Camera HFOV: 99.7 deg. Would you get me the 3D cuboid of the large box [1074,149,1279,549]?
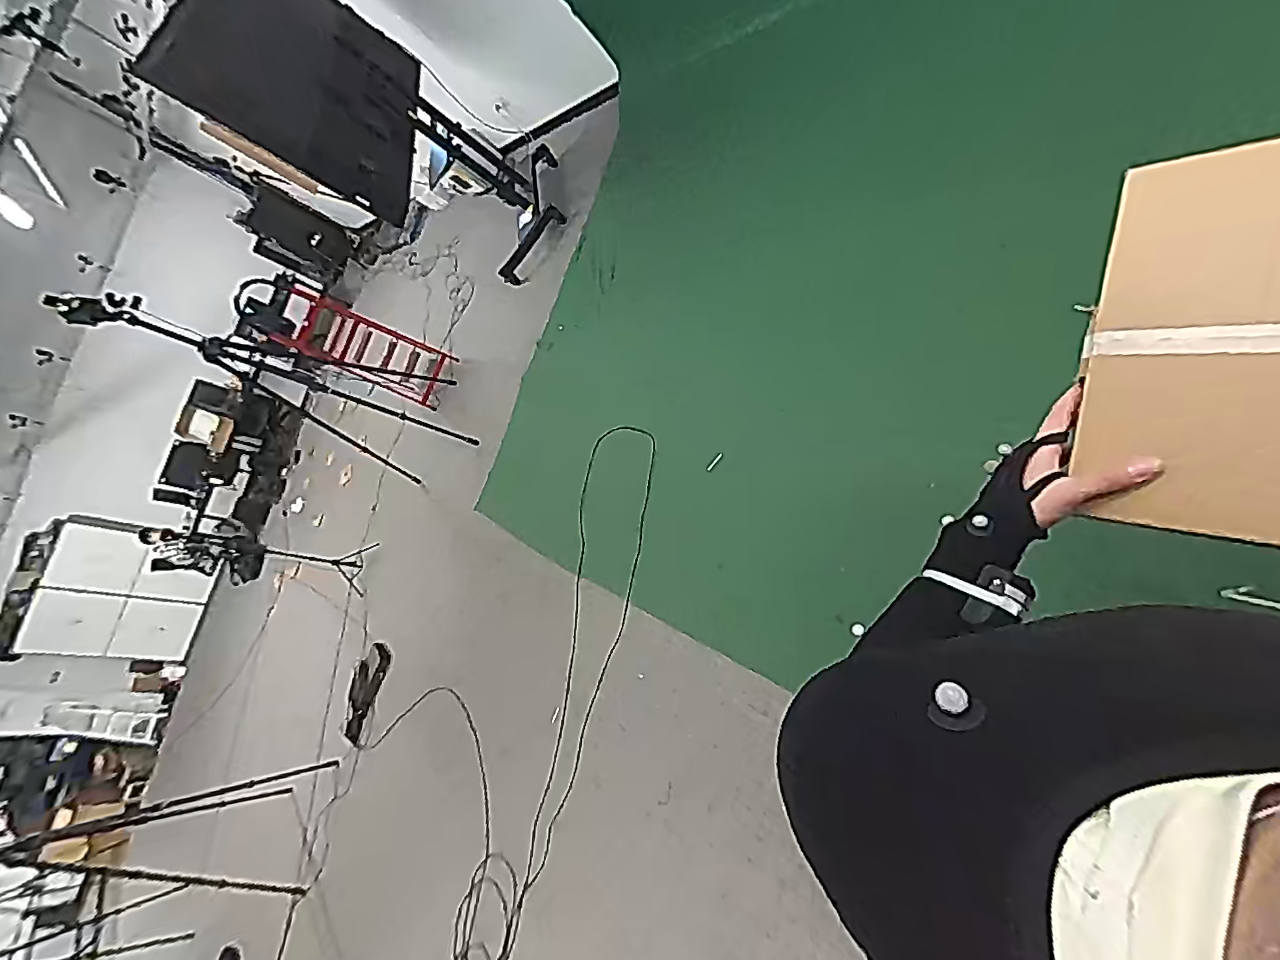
[{"bbox_3d":[0.663,-0.084,0.457,0.408,0.320,0.320,12,94,46],"label":"large box"}]
